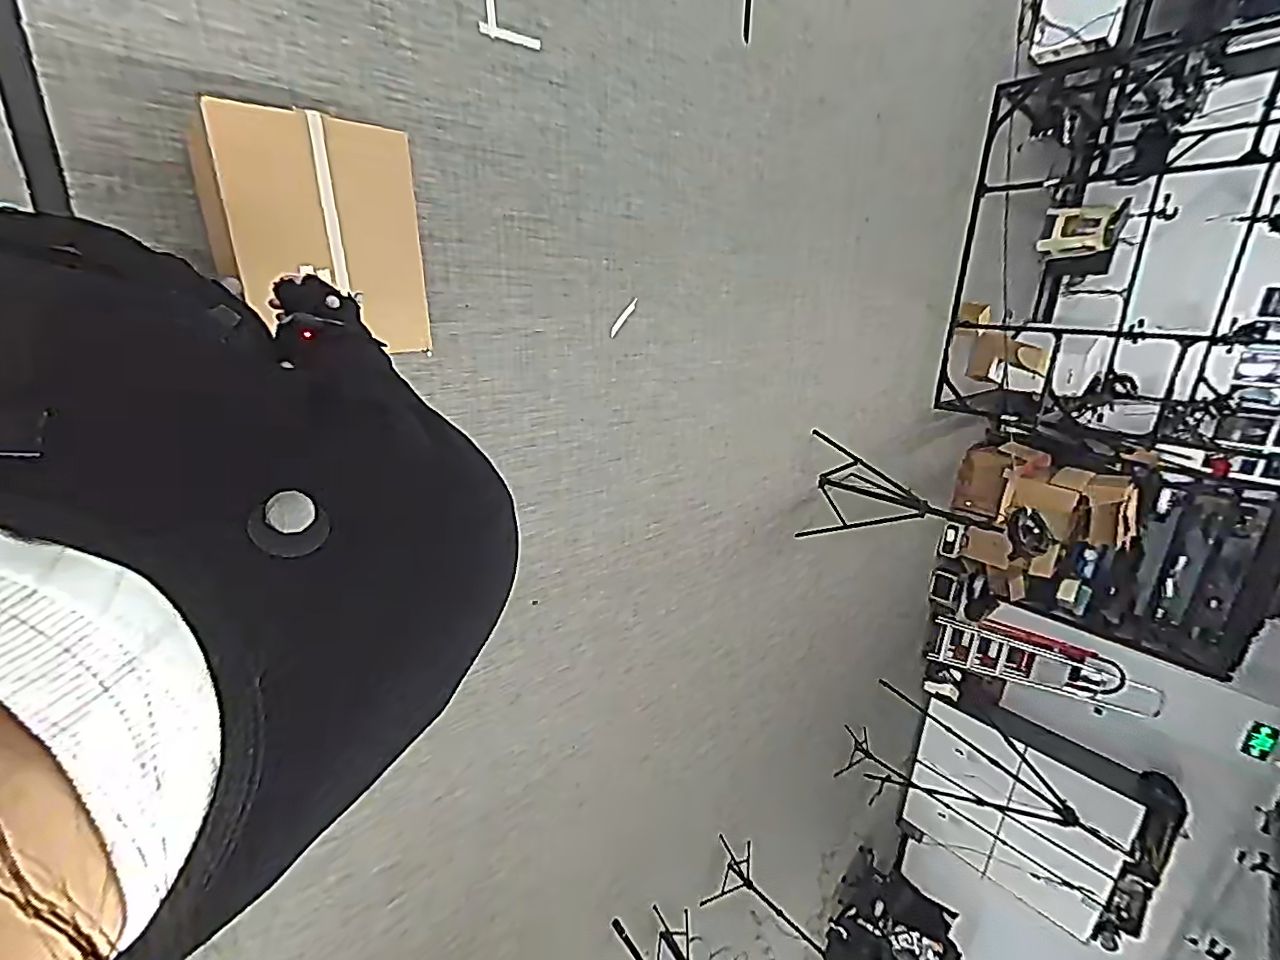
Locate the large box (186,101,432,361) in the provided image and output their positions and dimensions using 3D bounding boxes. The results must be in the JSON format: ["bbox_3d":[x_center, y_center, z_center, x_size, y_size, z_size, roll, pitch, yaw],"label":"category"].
[{"bbox_3d":[-0.656,-0.472,1.090,0.320,0.320,0.408,-16,116,-38],"label":"large box"}]
